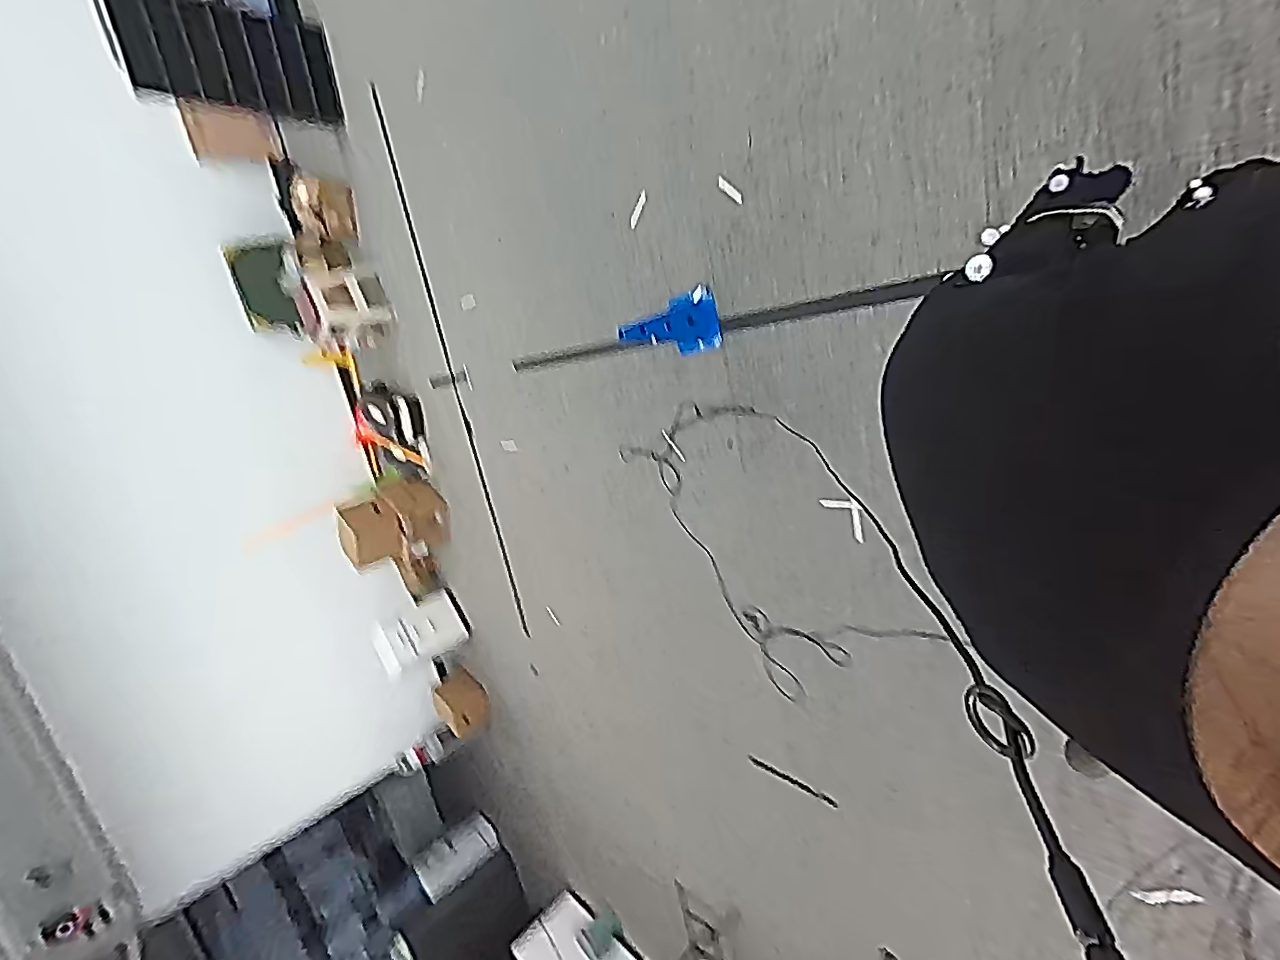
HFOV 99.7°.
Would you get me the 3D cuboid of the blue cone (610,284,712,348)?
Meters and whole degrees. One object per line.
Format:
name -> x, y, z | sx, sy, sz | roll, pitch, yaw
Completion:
blue cone -> 0.050, -0.515, 1.759 | 0.193, 0.380, 0.192 | -1, 105, 47
